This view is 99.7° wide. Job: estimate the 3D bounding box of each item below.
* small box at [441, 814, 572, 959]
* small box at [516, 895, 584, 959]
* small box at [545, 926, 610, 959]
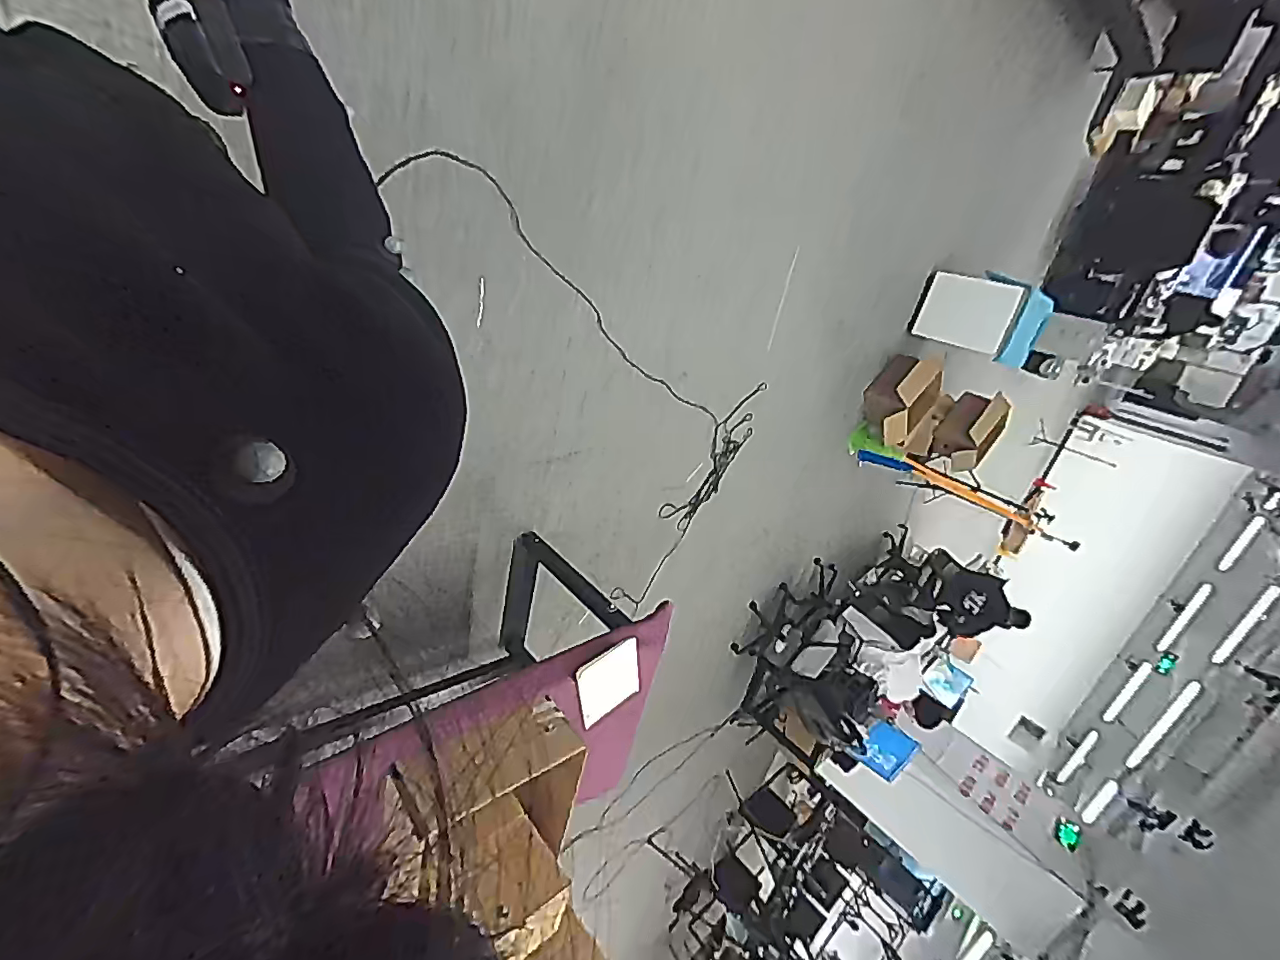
[{"bbox_3d":[-0.265,0.809,1.063,0.179,0.176,0.168,-9,123,-44],"label":"small box"},{"bbox_3d":[-0.256,1.052,1.248,0.179,0.176,0.168,-12,123,-43],"label":"small box"},{"bbox_3d":[-0.146,1.123,1.149,0.179,0.176,0.168,-9,121,-43],"label":"small box"}]
